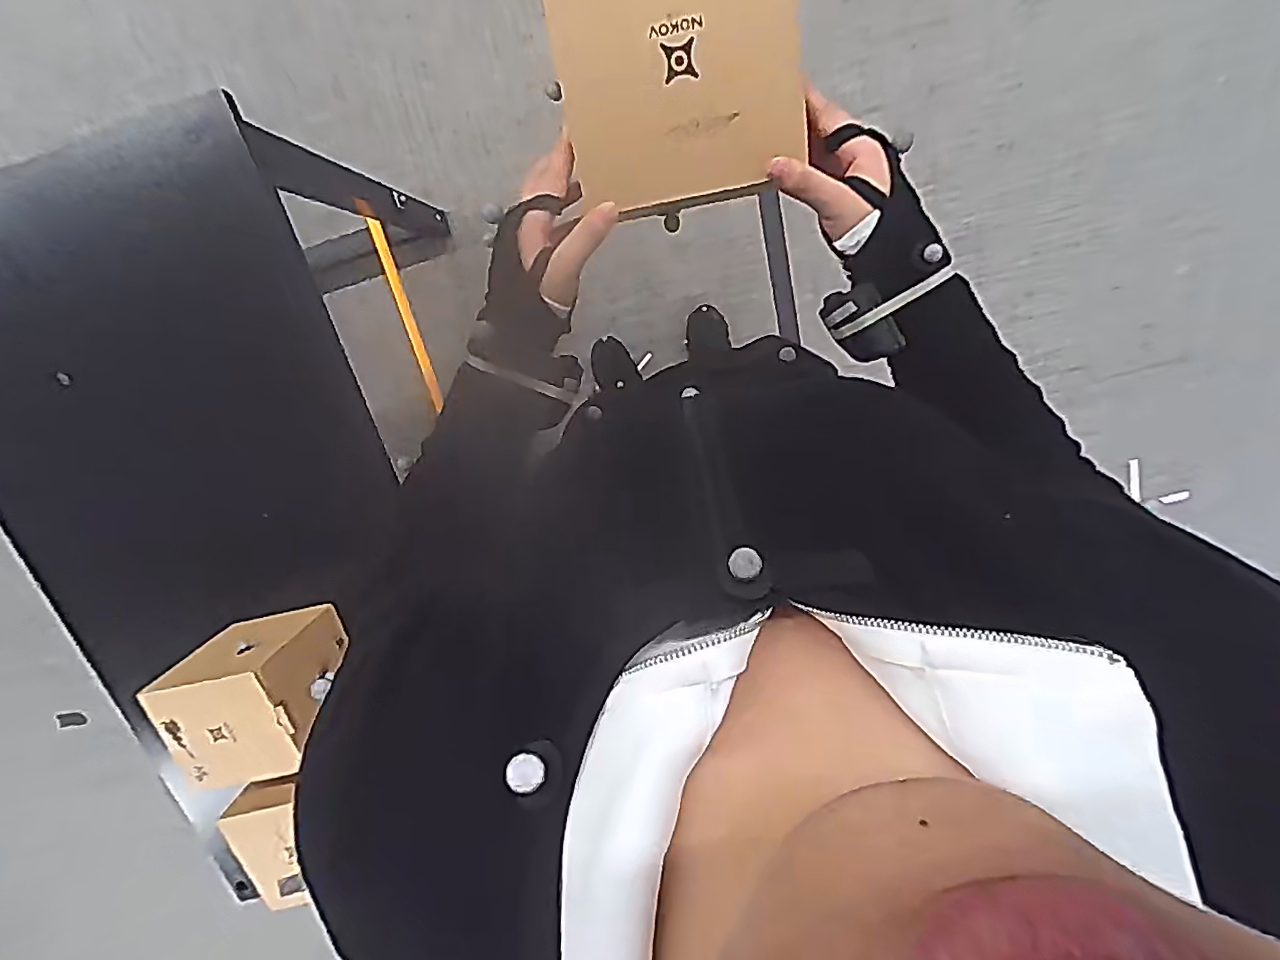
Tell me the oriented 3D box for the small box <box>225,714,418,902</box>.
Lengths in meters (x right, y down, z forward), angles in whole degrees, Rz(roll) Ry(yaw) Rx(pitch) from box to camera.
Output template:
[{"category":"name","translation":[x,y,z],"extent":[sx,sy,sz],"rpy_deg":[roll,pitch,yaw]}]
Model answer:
[{"category":"small box","translation":[-0.482,0.507,0.852],"extent":[0.168,0.176,0.179],"rpy_deg":[-16,105,6]}]

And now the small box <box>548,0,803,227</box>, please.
[{"category":"small box","translation":[0.025,-0.319,0.444],"extent":[0.168,0.176,0.179],"rpy_deg":[-10,113,4]}]

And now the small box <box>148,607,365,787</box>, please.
[{"category":"small box","translation":[-0.538,0.307,0.794],"extent":[0.179,0.176,0.168],"rpy_deg":[-13,106,5]}]
